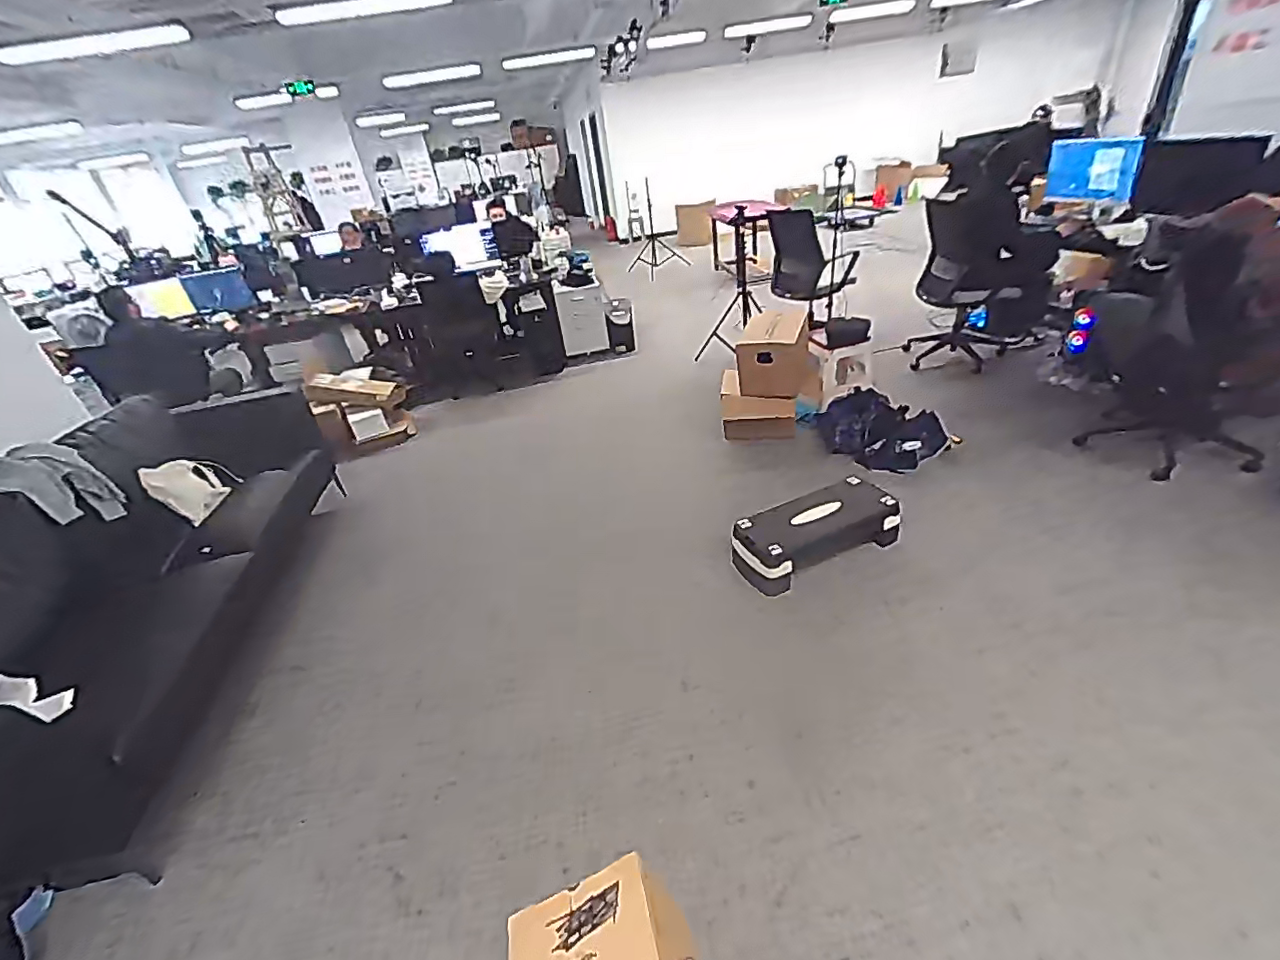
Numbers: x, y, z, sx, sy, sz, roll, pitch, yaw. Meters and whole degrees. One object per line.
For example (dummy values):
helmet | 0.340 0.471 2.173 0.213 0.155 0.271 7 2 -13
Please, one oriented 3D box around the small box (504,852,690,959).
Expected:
small box | -0.036 0.564 0.590 0.168 0.176 0.179 -25 30 -2
